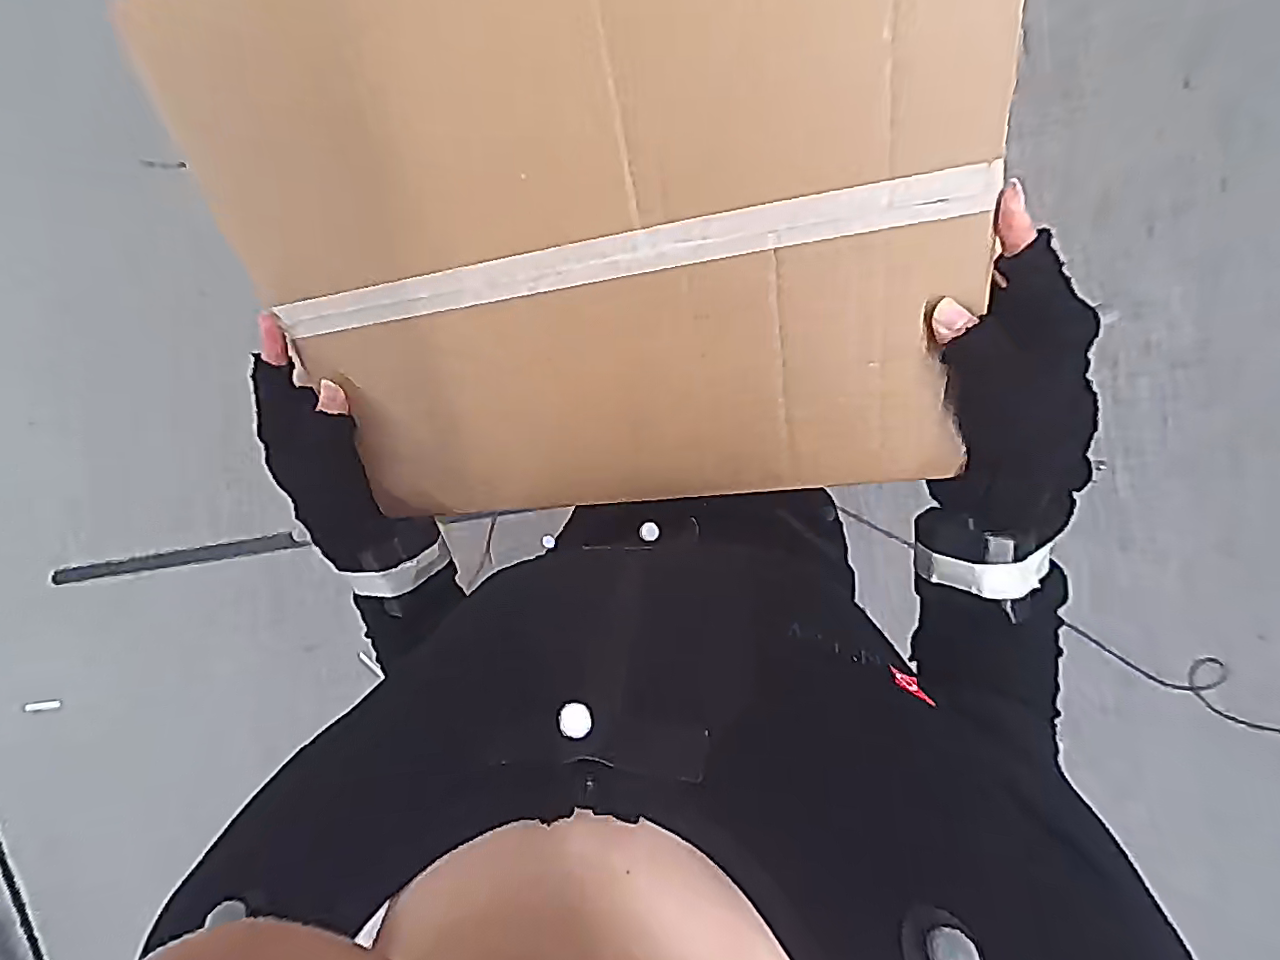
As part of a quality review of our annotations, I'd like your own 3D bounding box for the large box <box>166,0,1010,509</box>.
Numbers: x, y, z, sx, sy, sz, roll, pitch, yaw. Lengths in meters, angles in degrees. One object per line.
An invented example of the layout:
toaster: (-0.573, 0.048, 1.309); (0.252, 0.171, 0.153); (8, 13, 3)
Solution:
large box: (-0.003, -0.201, 0.427); (0.408, 0.320, 0.320); (-4, 122, 14)
